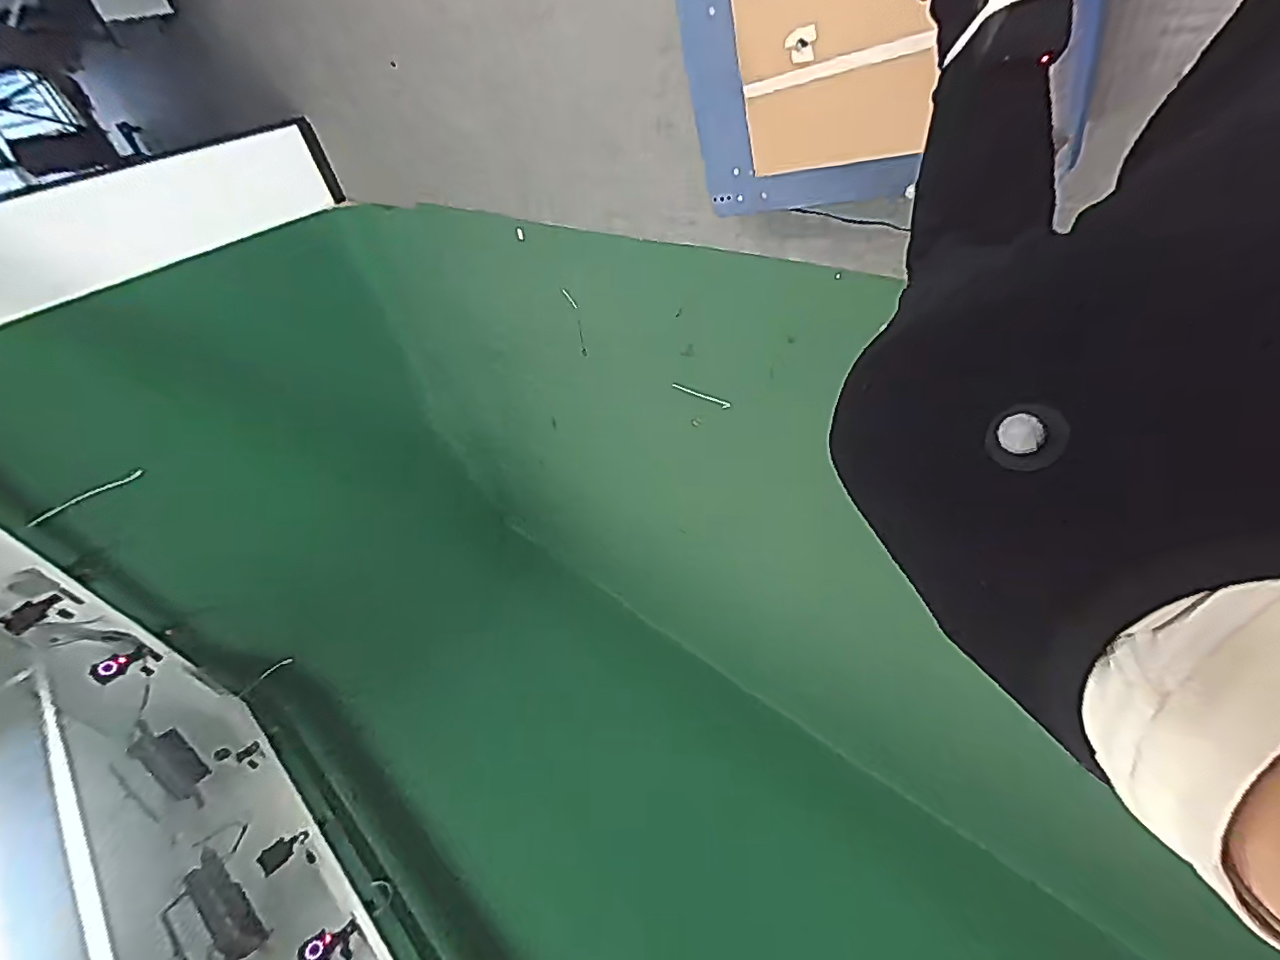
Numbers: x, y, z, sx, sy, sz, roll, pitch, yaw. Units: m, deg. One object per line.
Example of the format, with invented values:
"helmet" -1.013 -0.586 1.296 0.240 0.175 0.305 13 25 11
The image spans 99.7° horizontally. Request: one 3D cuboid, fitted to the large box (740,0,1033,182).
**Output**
"large box" 0.460 -0.799 1.013 0.408 0.320 0.320 19 139 42
